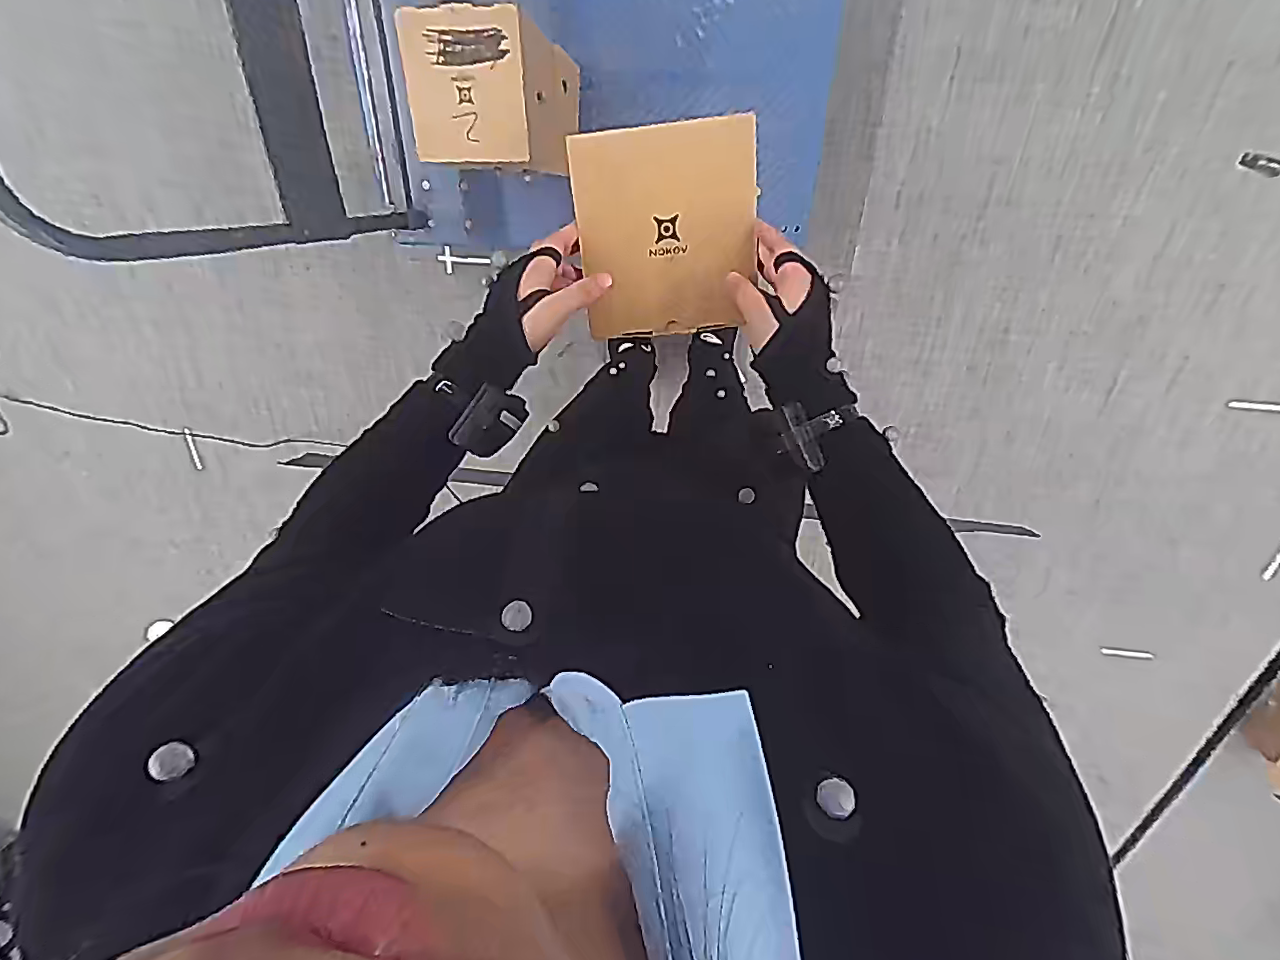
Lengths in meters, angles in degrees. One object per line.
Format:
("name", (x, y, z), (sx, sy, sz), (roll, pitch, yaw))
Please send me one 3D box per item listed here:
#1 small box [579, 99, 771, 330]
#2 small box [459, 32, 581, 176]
("small box", (0.037, -0.263, 0.562), (0.168, 0.176, 0.179), (-5, 114, 5))
("small box", (-0.199, -0.638, 0.936), (0.168, 0.176, 0.179), (7, 118, 3))
